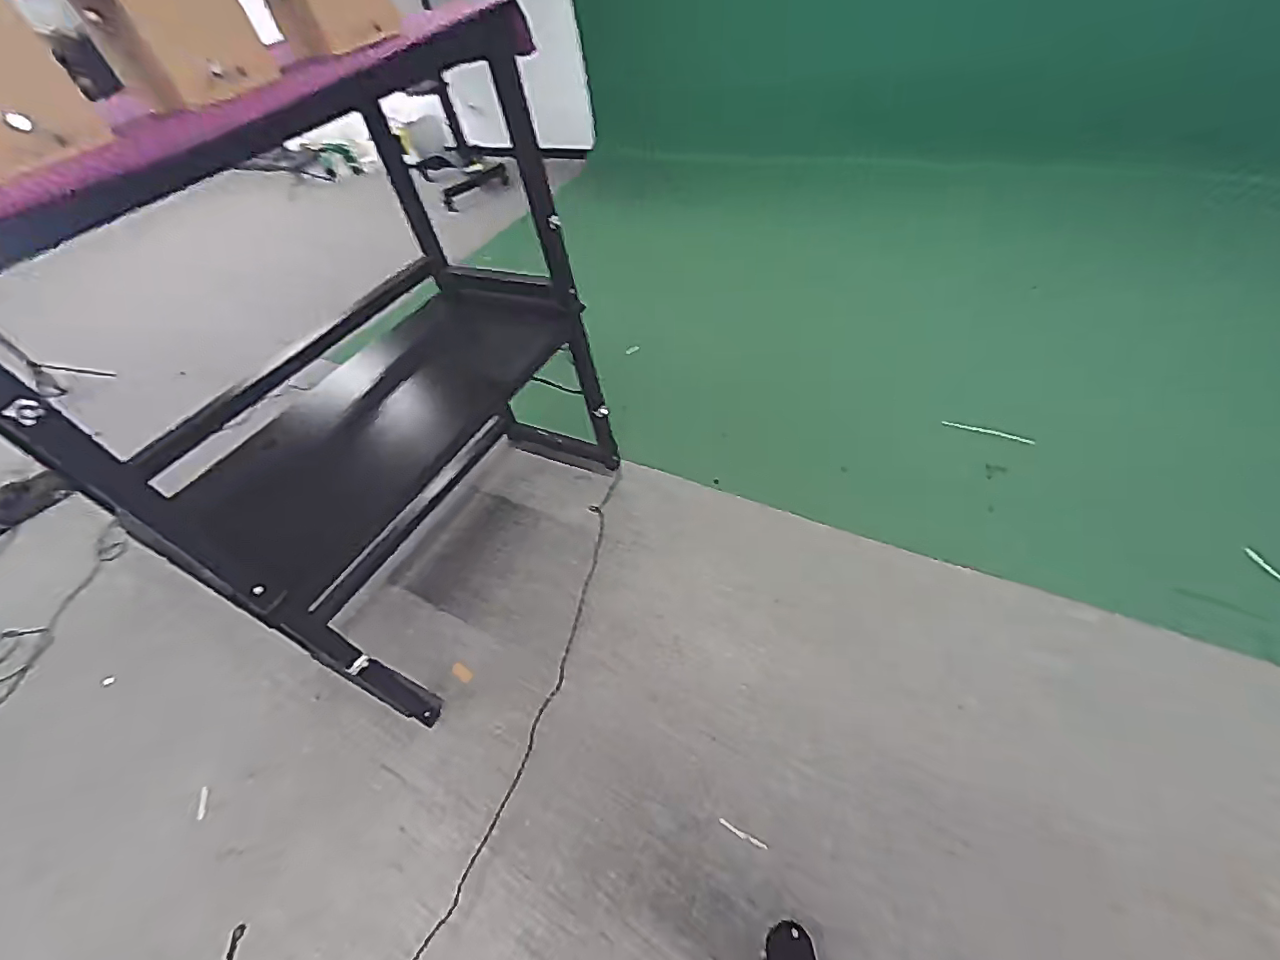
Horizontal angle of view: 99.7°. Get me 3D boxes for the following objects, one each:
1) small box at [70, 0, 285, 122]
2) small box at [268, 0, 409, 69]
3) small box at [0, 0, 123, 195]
[{"bbox_3d":[-0.725,-0.691,0.862,0.179,0.176,0.168,20,56,27],"label":"small box"},{"bbox_3d":[-0.579,-0.896,1.014,0.179,0.176,0.168,24,58,31],"label":"small box"},{"bbox_3d":[-0.846,-0.484,0.697,0.179,0.176,0.168,16,54,25],"label":"small box"}]
